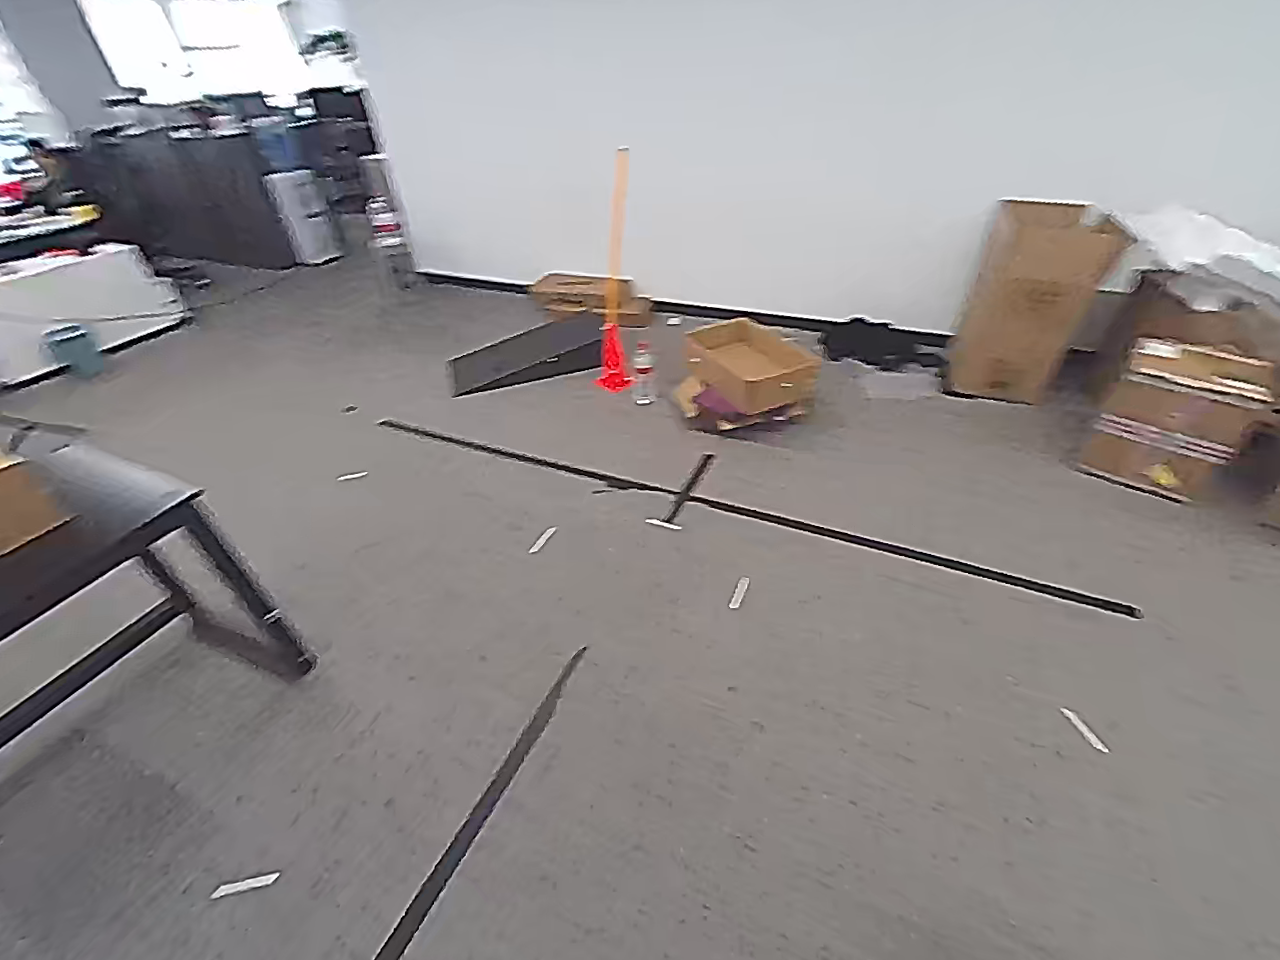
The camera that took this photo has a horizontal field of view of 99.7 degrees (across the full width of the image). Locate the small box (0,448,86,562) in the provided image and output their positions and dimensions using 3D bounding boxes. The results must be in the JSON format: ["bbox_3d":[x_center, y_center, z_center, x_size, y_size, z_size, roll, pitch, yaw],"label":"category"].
[{"bbox_3d":[-1.415,0.057,1.201,0.168,0.176,0.179,15,41,23],"label":"small box"}]
